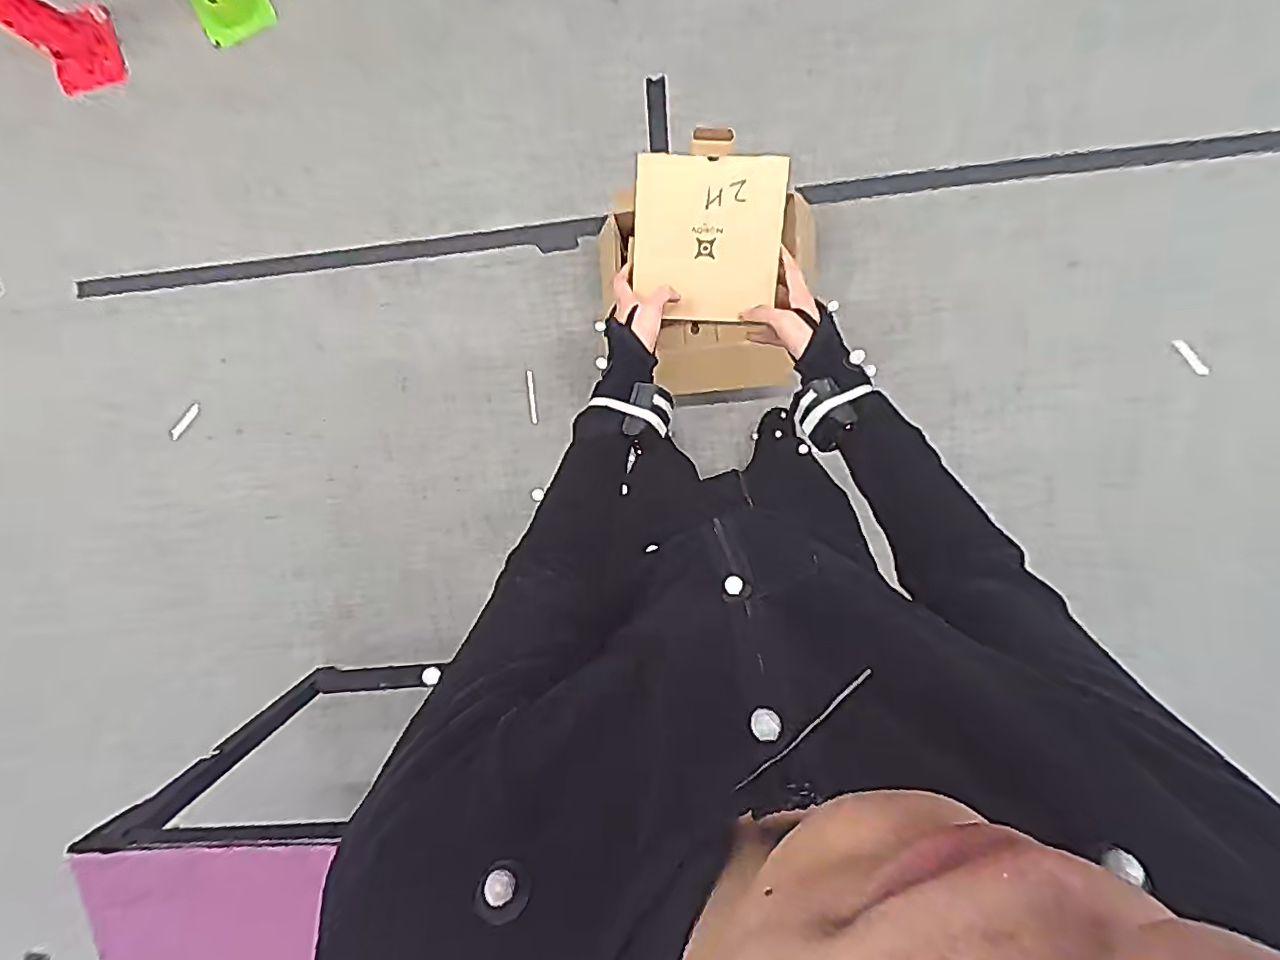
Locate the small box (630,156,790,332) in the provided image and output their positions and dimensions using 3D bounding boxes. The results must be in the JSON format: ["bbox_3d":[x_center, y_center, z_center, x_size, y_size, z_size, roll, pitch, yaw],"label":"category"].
[{"bbox_3d":[0.082,-0.280,0.678,0.168,0.176,0.179,4,104,3],"label":"small box"}]
